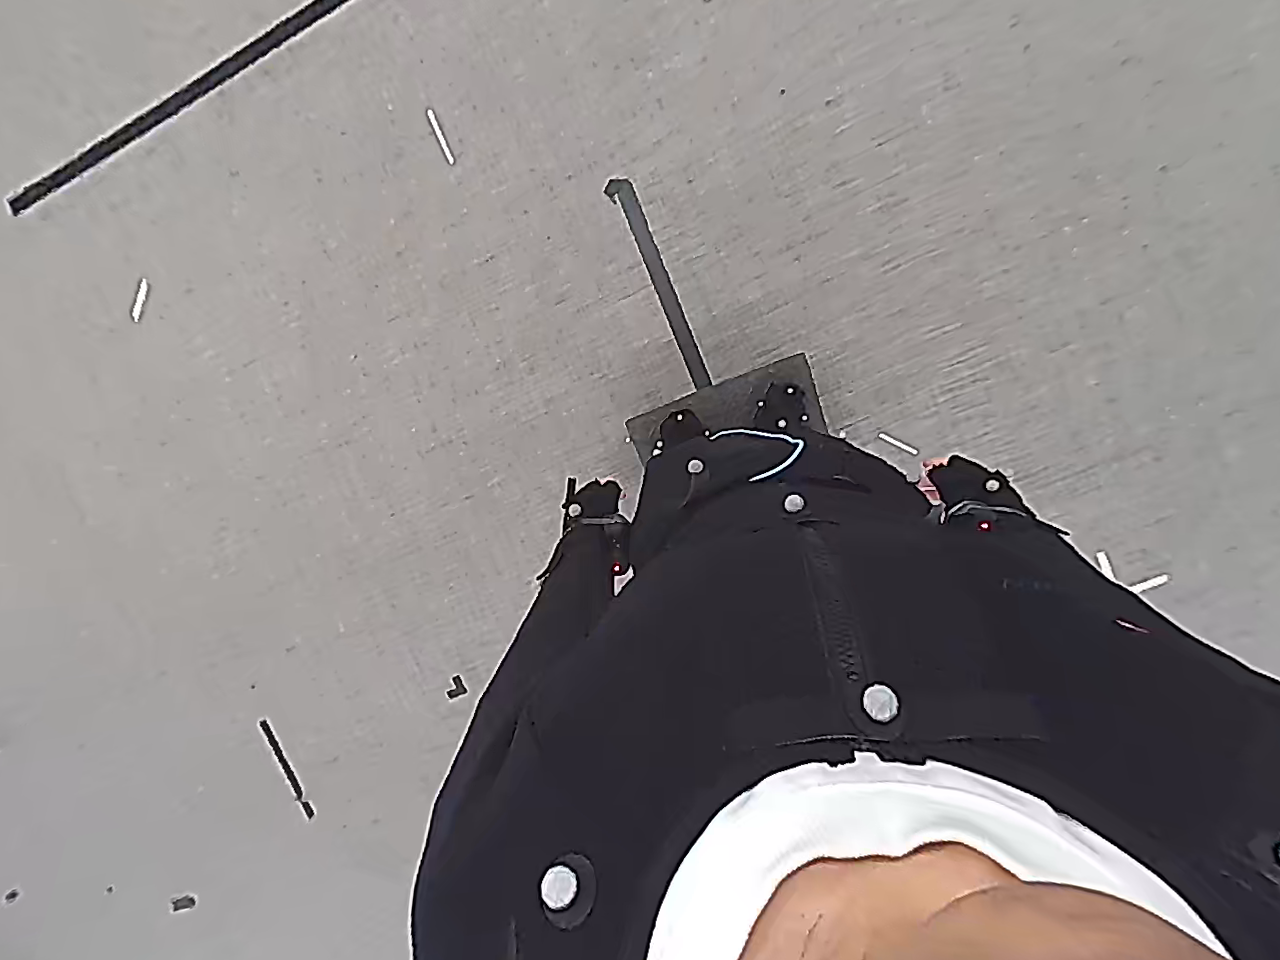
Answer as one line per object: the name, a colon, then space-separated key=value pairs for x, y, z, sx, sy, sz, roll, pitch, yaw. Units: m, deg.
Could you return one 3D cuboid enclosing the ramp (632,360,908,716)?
ramp: x=0.395 y=0.215 z=1.531 sx=0.509 sy=0.206 sz=0.991 roll=-24 pitch=95 yaw=8
